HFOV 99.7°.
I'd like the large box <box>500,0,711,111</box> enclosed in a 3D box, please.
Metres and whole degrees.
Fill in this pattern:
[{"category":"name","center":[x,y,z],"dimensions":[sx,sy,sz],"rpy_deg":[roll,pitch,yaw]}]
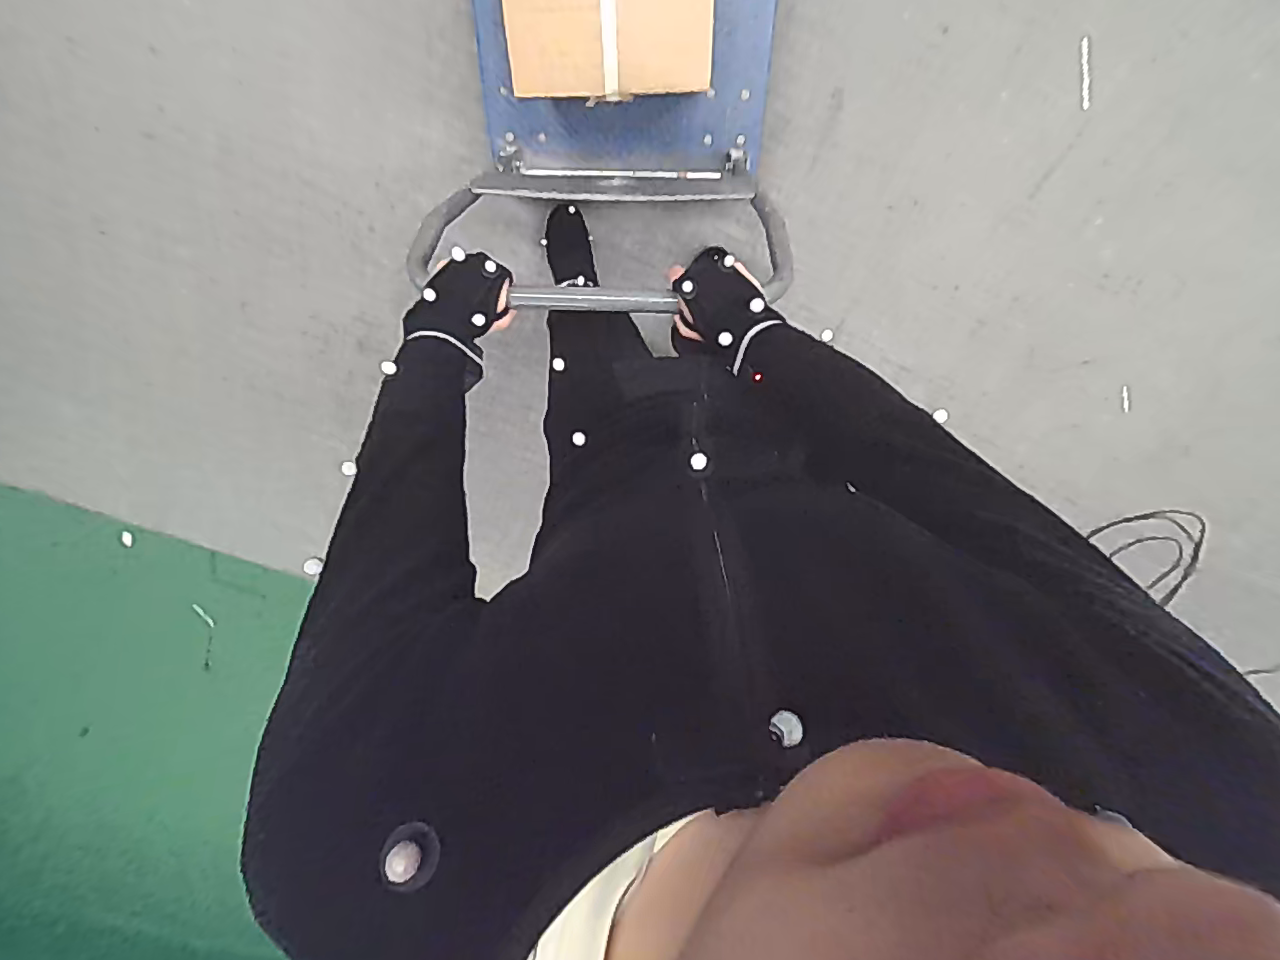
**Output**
[{"category":"large box","center":[-0.048,-0.852,0.871],"dimensions":[0.320,0.320,0.408],"rpy_deg":[-1,126,4]}]
